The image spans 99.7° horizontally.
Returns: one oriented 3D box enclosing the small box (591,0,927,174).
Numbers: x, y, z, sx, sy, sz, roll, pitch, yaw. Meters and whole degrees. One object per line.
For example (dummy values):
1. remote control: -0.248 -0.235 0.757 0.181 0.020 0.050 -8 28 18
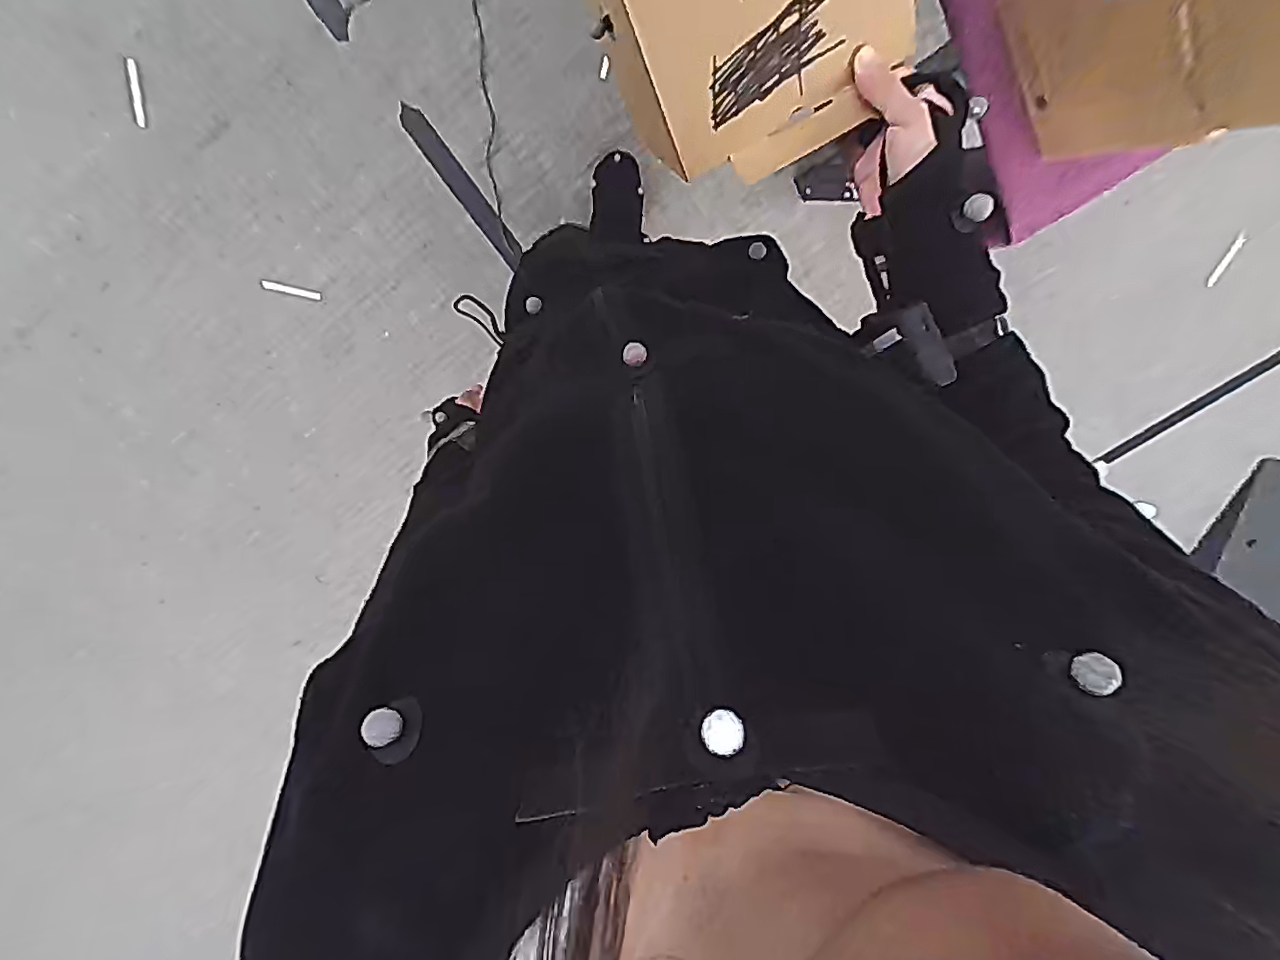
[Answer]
1. small box: 0.058 -0.344 0.355 0.168 0.176 0.179 -27 130 8
